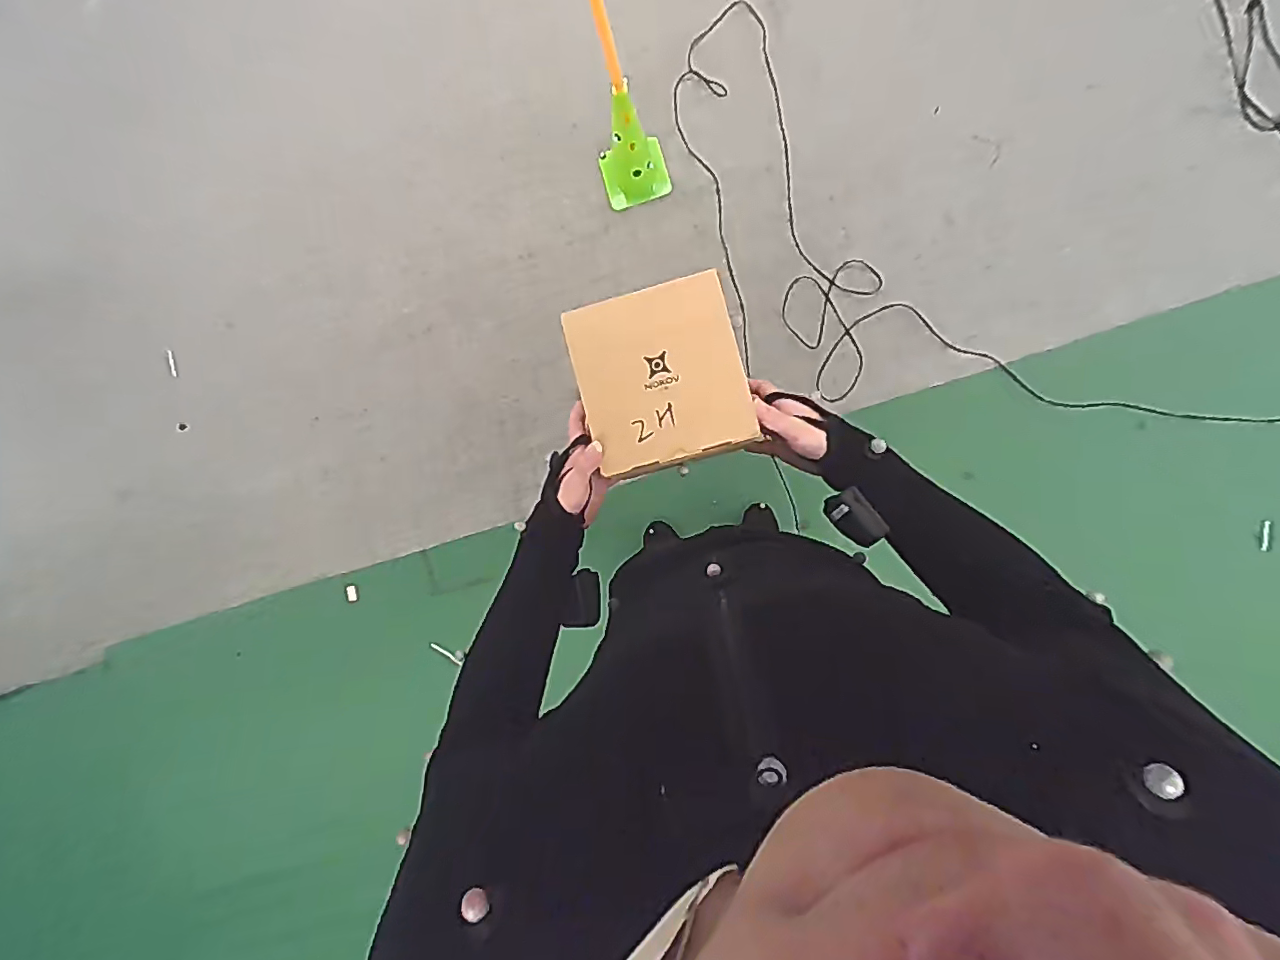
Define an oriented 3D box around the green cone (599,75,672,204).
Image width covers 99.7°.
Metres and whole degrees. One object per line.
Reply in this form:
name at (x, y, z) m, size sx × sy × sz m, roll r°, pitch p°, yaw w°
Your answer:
green cone at (-0.029, -1.000, 1.552) m, size 0.202 × 0.368 × 0.200 m, roll -16°, pitch 86°, yaw 4°
